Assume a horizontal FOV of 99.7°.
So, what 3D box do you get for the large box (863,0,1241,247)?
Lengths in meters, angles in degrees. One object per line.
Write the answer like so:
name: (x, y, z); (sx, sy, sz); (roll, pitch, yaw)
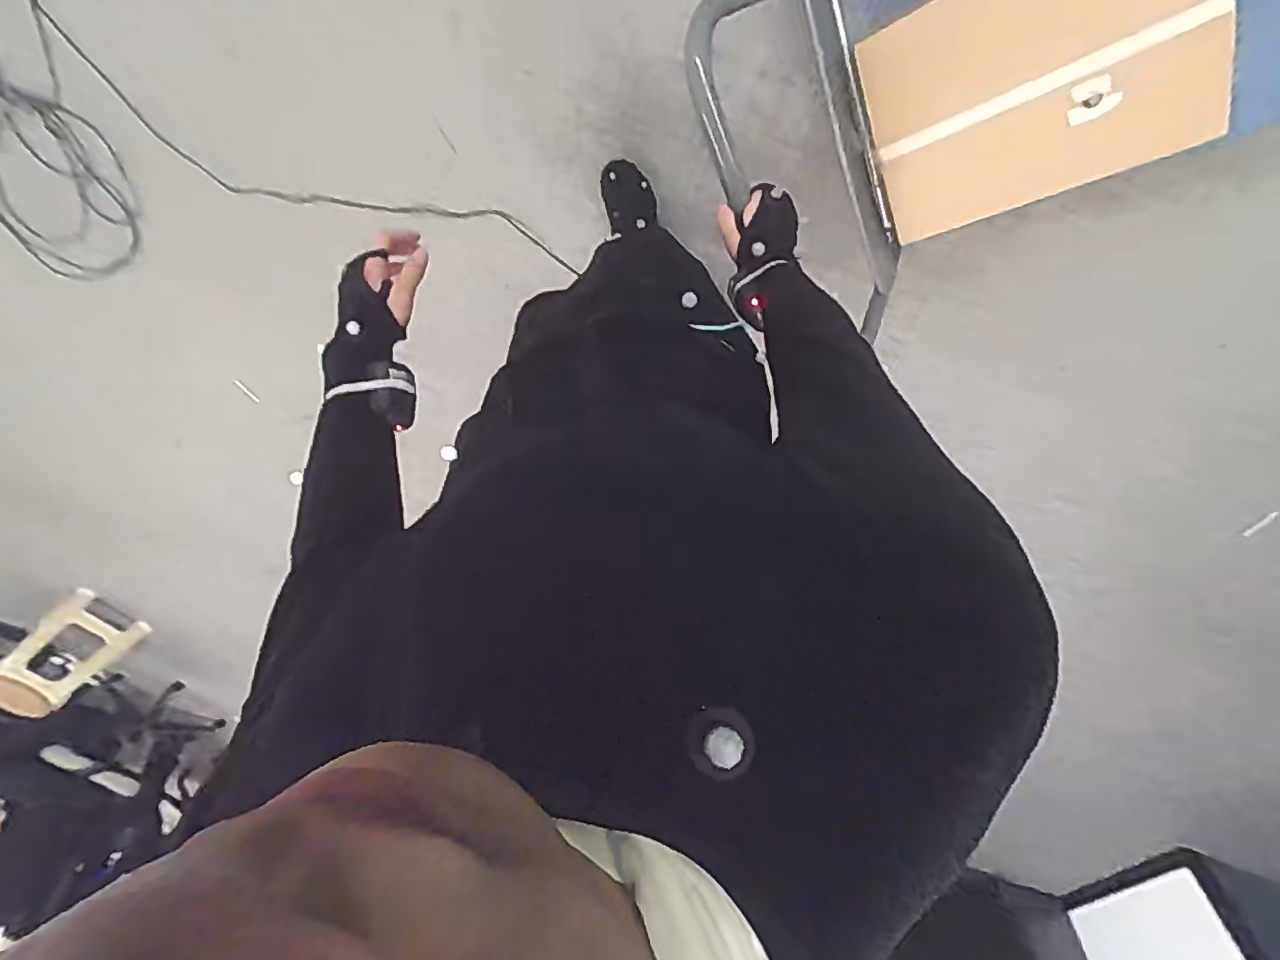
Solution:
large box: (0.610, -0.637, 0.858); (0.408, 0.320, 0.320); (-9, 125, 34)
